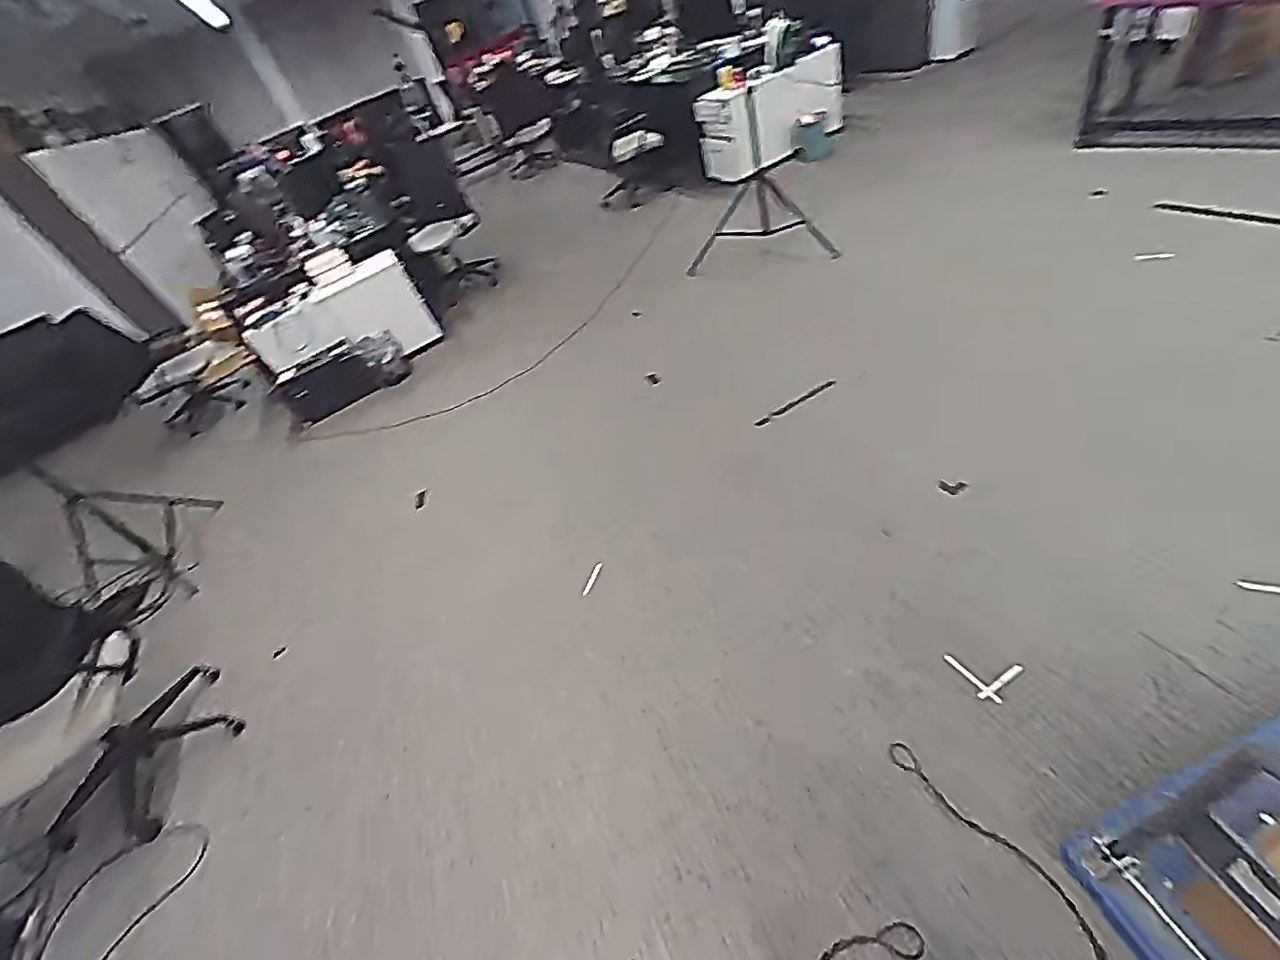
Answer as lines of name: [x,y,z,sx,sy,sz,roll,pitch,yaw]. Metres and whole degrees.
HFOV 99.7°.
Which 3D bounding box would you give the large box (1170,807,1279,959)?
large box: [1.059,0.647,0.691,0.320,0.320,0.408,-29,43,-6]
